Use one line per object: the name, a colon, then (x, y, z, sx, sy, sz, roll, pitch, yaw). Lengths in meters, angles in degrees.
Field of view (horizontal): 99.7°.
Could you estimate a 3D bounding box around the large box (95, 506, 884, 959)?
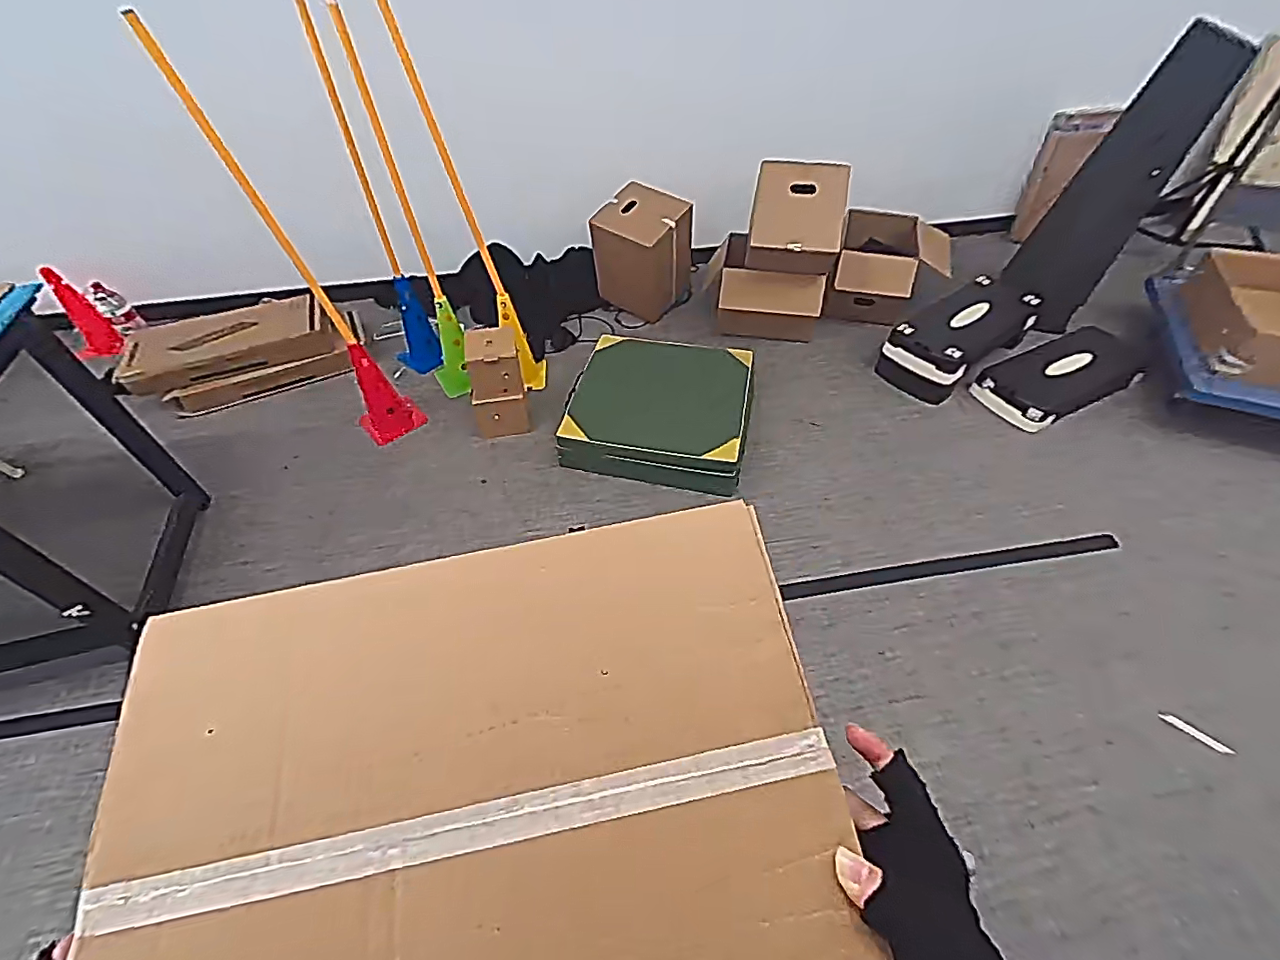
large box: (-0.085, 0.255, 0.437, 0.408, 0.320, 0.320, -11, 62, -2)
